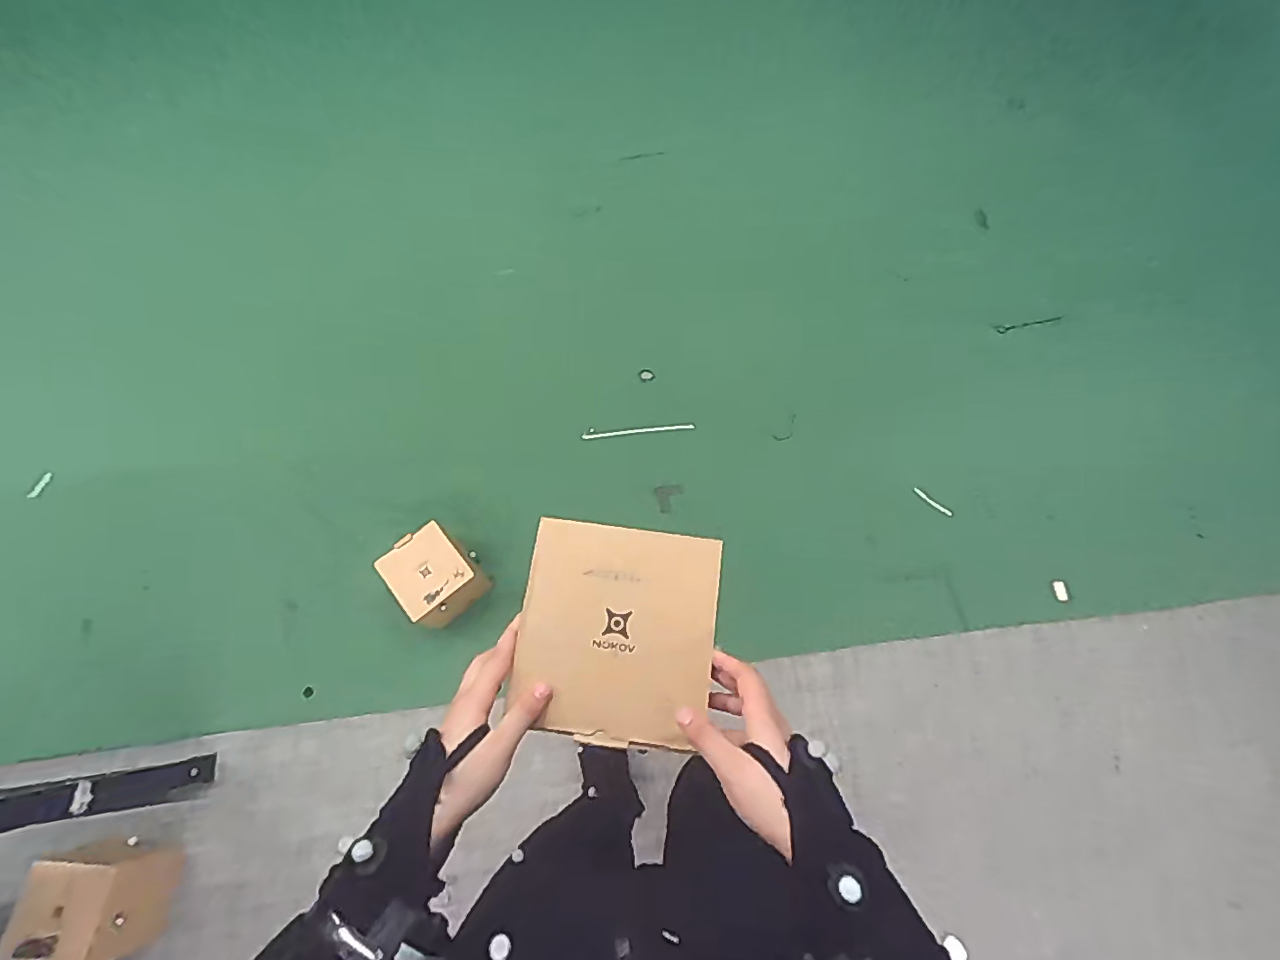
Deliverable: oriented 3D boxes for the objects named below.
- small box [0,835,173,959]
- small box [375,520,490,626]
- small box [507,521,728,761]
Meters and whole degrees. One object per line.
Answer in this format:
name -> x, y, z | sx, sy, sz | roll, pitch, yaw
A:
small box -> -1.086, 0.831, 1.067 | 0.168, 0.176, 0.179 | 6, 69, 1
small box -> -0.488, 0.230, 1.294 | 0.168, 0.176, 0.179 | -37, 74, -13
small box -> -0.015, 0.152, 0.527 | 0.168, 0.176, 0.179 | 8, 72, 1
